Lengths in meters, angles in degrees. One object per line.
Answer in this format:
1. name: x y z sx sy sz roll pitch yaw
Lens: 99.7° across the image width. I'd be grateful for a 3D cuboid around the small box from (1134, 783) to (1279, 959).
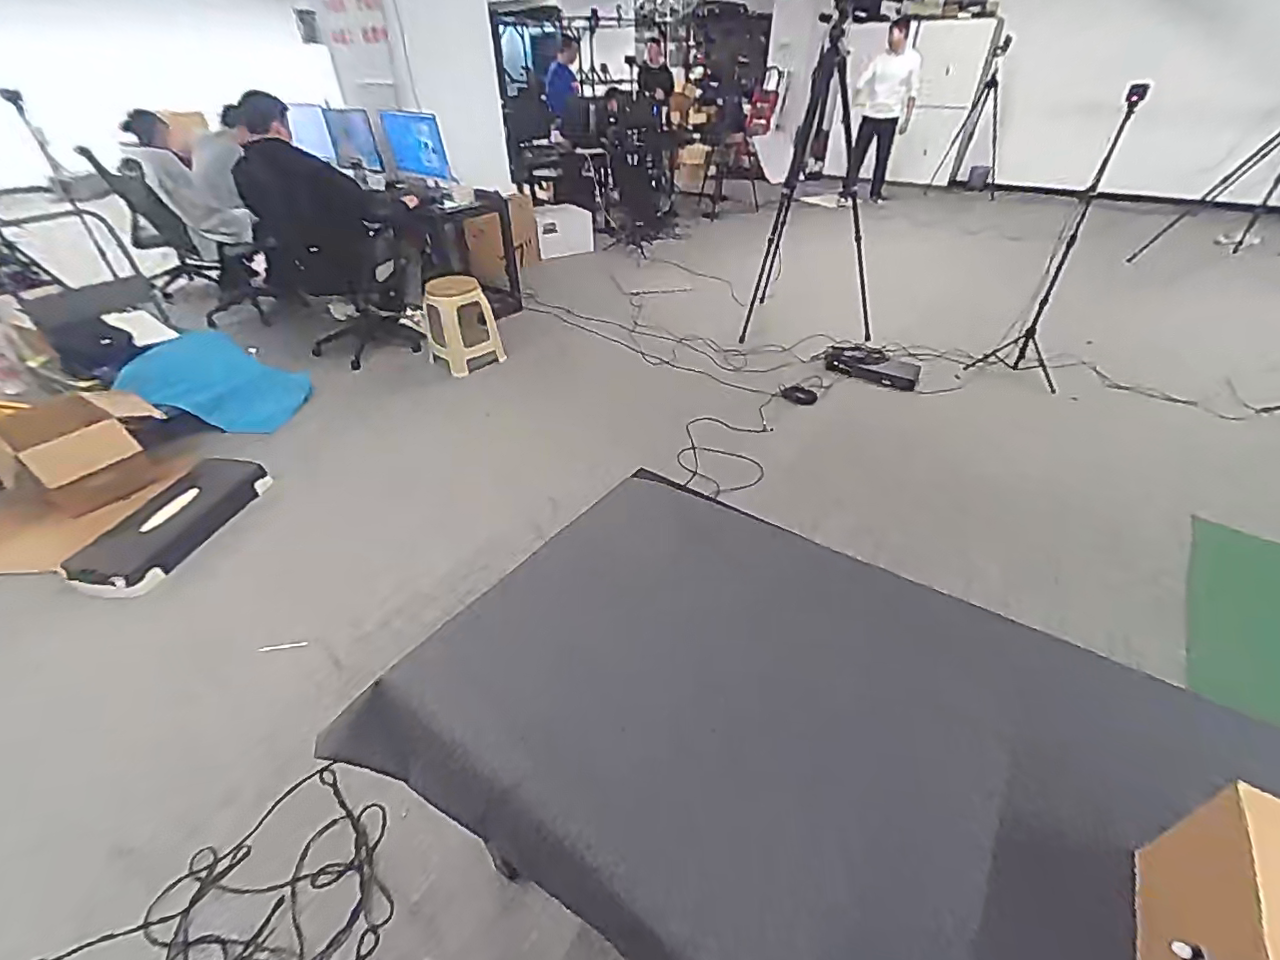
1. small box: 0.536 0.398 0.427 0.168 0.176 0.179 23 42 27
